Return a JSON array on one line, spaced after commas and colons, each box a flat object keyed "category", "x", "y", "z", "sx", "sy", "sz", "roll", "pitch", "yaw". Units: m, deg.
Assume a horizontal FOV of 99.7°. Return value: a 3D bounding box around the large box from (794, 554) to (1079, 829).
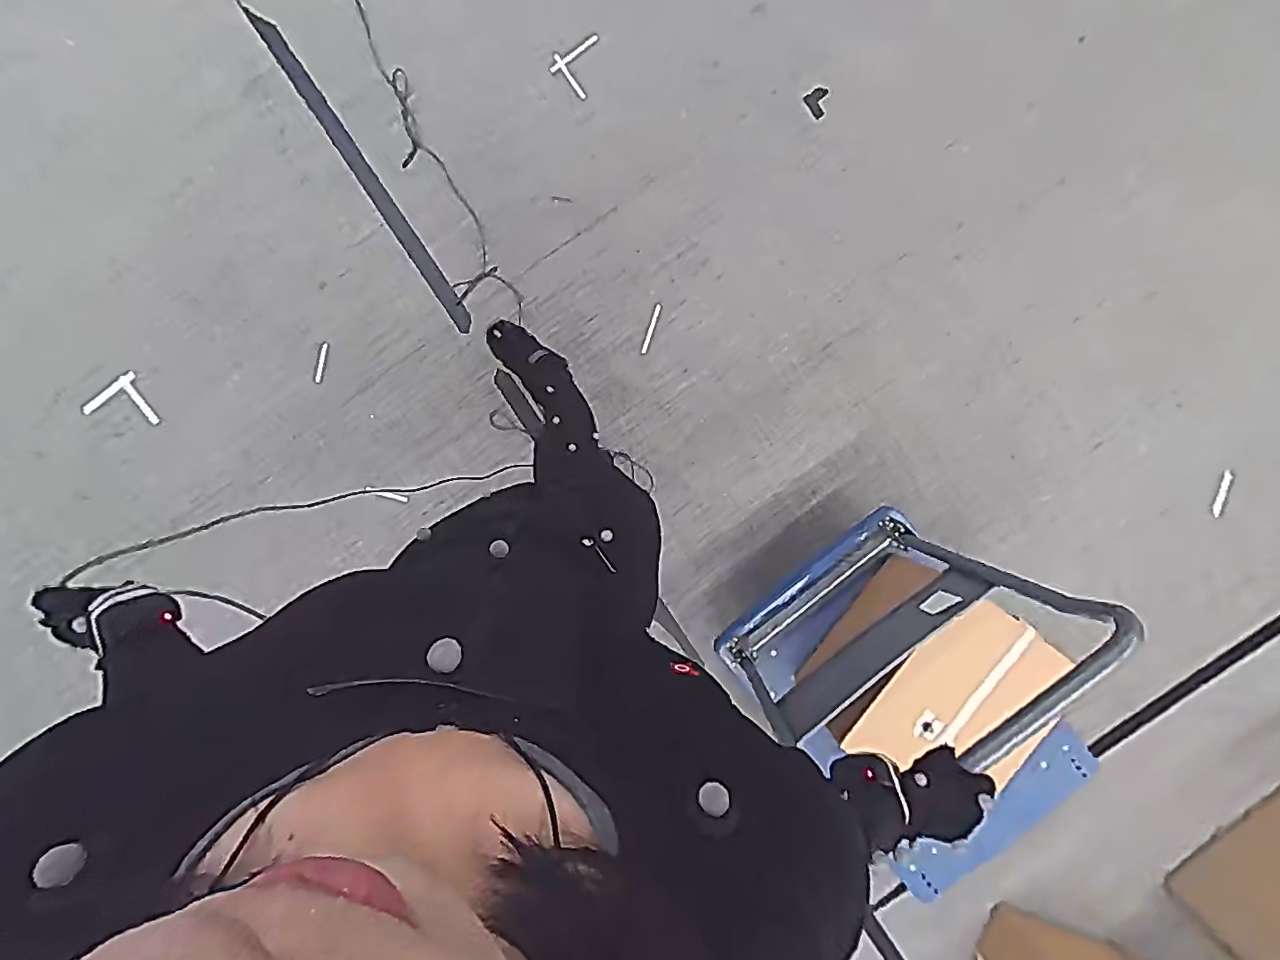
[{"category": "large box", "x": 0.618, "y": 0.433, "z": 1.199, "sx": 0.320, "sy": 0.320, "sz": 0.408, "roll": 37, "pitch": 93, "yaw": -2}]
